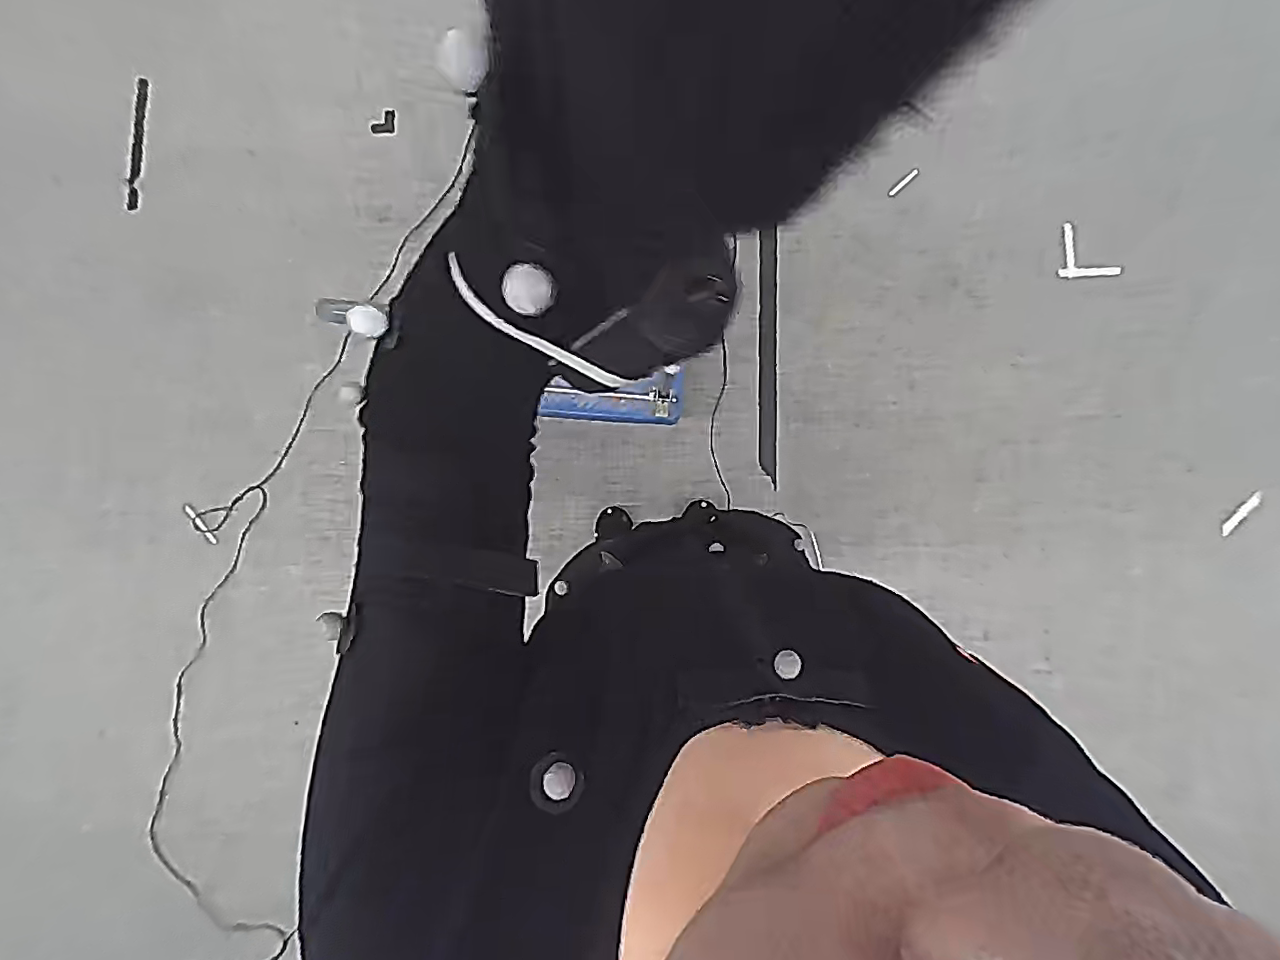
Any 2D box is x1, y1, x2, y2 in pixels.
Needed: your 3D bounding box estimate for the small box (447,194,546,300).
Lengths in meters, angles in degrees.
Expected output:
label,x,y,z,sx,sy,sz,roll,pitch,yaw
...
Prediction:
label,x,y,z,sx,sy,sz,roll,pitch,yaw
small box,-0.333,-0.543,1.283,0.179,0.176,0.168,8,87,-1
